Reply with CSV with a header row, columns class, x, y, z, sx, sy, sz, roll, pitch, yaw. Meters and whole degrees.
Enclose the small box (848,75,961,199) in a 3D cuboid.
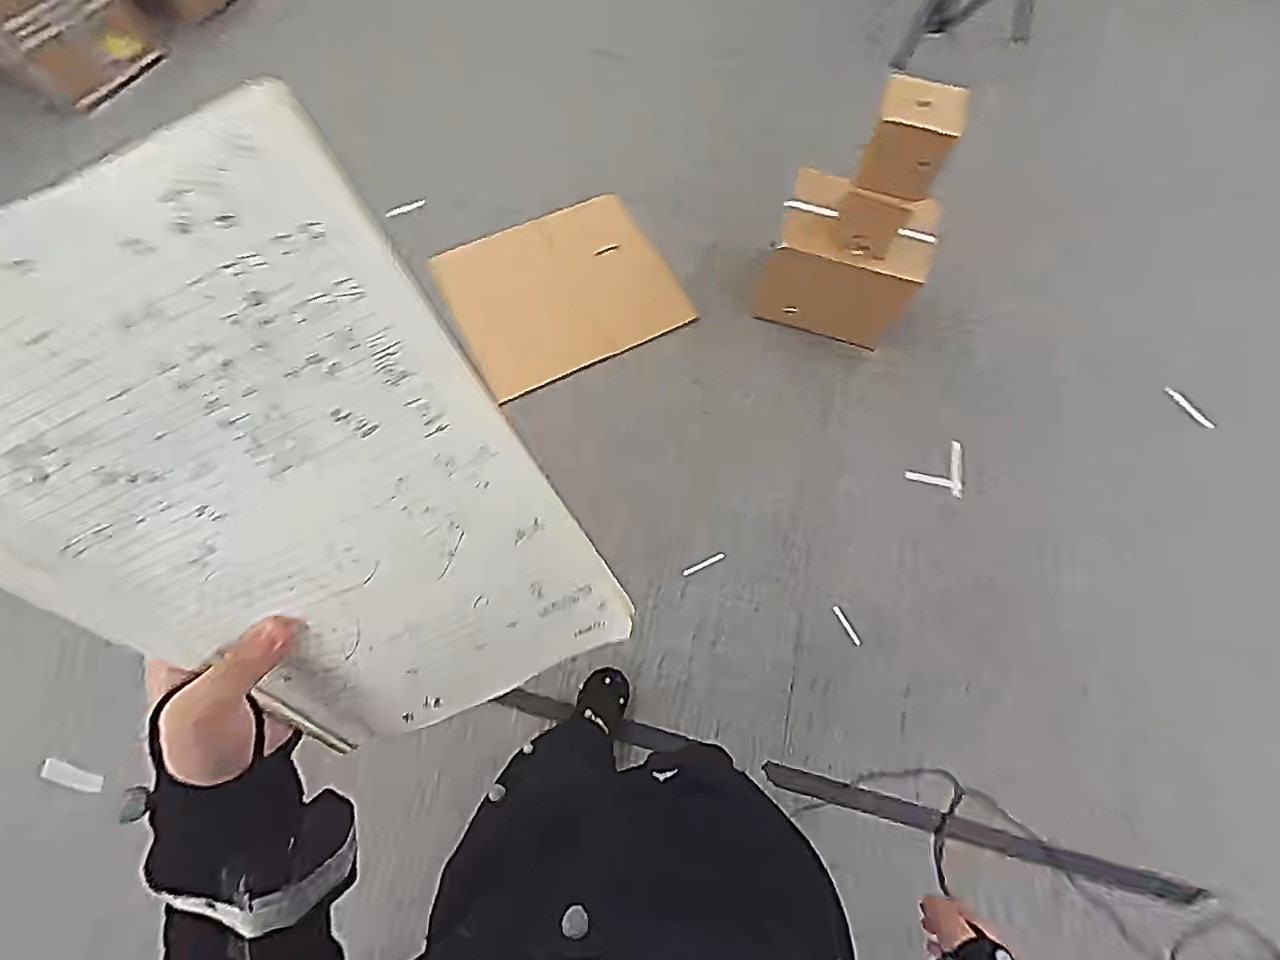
class,x,y,z,sx,sy,sz,roll,pitch,yaw
small box,0.610,-0.790,1.258,0.179,0.176,0.168,16,68,6
